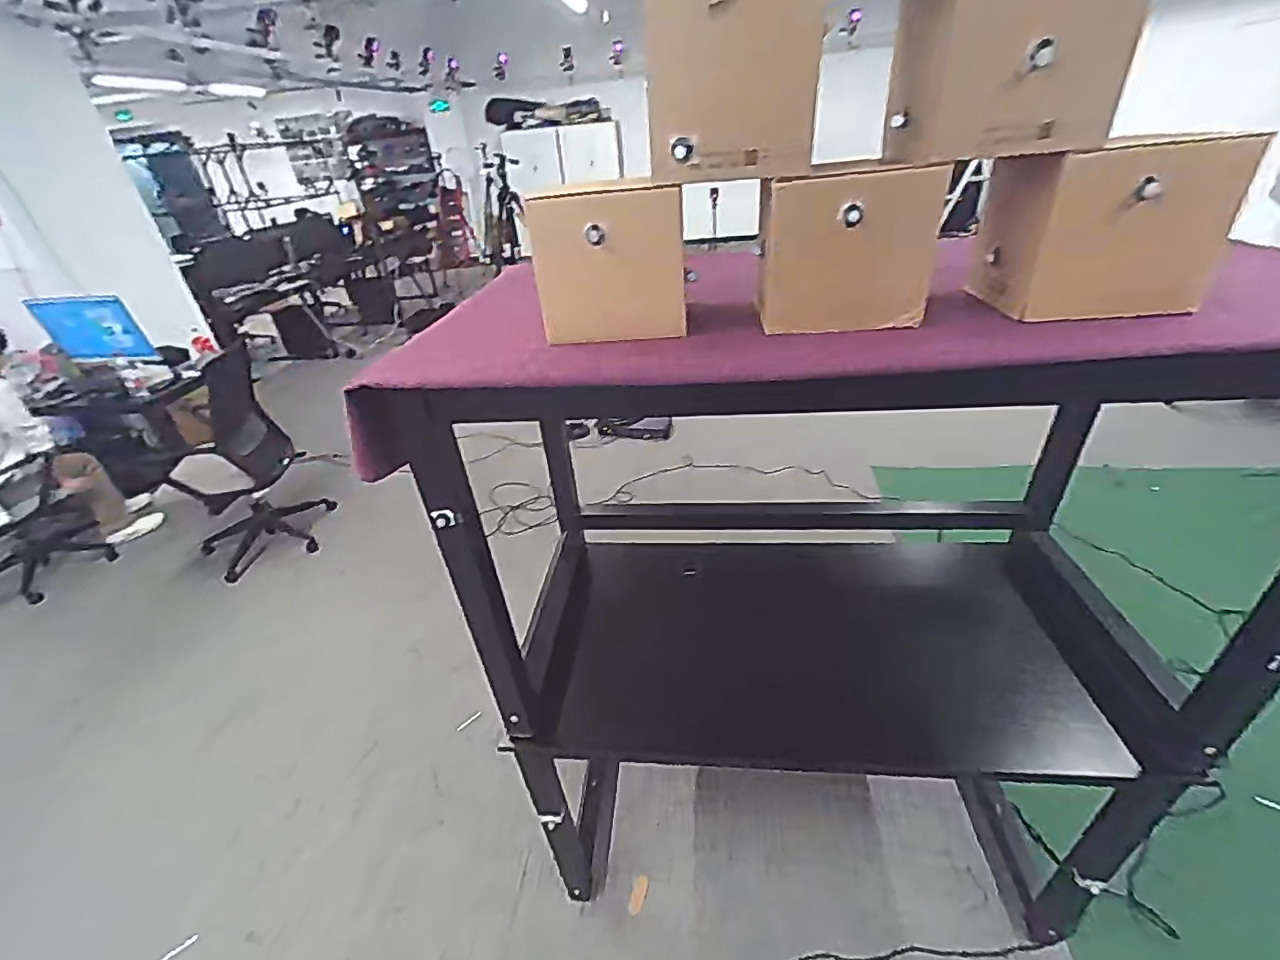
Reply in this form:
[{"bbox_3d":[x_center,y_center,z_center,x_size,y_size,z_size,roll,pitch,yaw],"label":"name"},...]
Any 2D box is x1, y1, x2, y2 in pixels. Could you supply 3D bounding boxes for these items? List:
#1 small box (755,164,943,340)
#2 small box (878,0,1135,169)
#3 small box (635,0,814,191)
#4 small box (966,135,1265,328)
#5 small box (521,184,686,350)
[{"bbox_3d":[0.232,-0.274,0.651,0.179,0.176,0.168,-1,33,8],"label":"small box"},{"bbox_3d":[0.360,-0.422,0.556,0.168,0.176,0.179,-2,33,7],"label":"small box"},{"bbox_3d":[0.094,-0.417,0.593,0.168,0.176,0.179,1,32,9],"label":"small box"},{"bbox_3d":[0.508,-0.283,0.616,0.179,0.176,0.168,-2,32,9],"label":"small box"},{"bbox_3d":[-0.033,-0.274,0.696,0.179,0.176,0.168,-2,33,6],"label":"small box"}]
